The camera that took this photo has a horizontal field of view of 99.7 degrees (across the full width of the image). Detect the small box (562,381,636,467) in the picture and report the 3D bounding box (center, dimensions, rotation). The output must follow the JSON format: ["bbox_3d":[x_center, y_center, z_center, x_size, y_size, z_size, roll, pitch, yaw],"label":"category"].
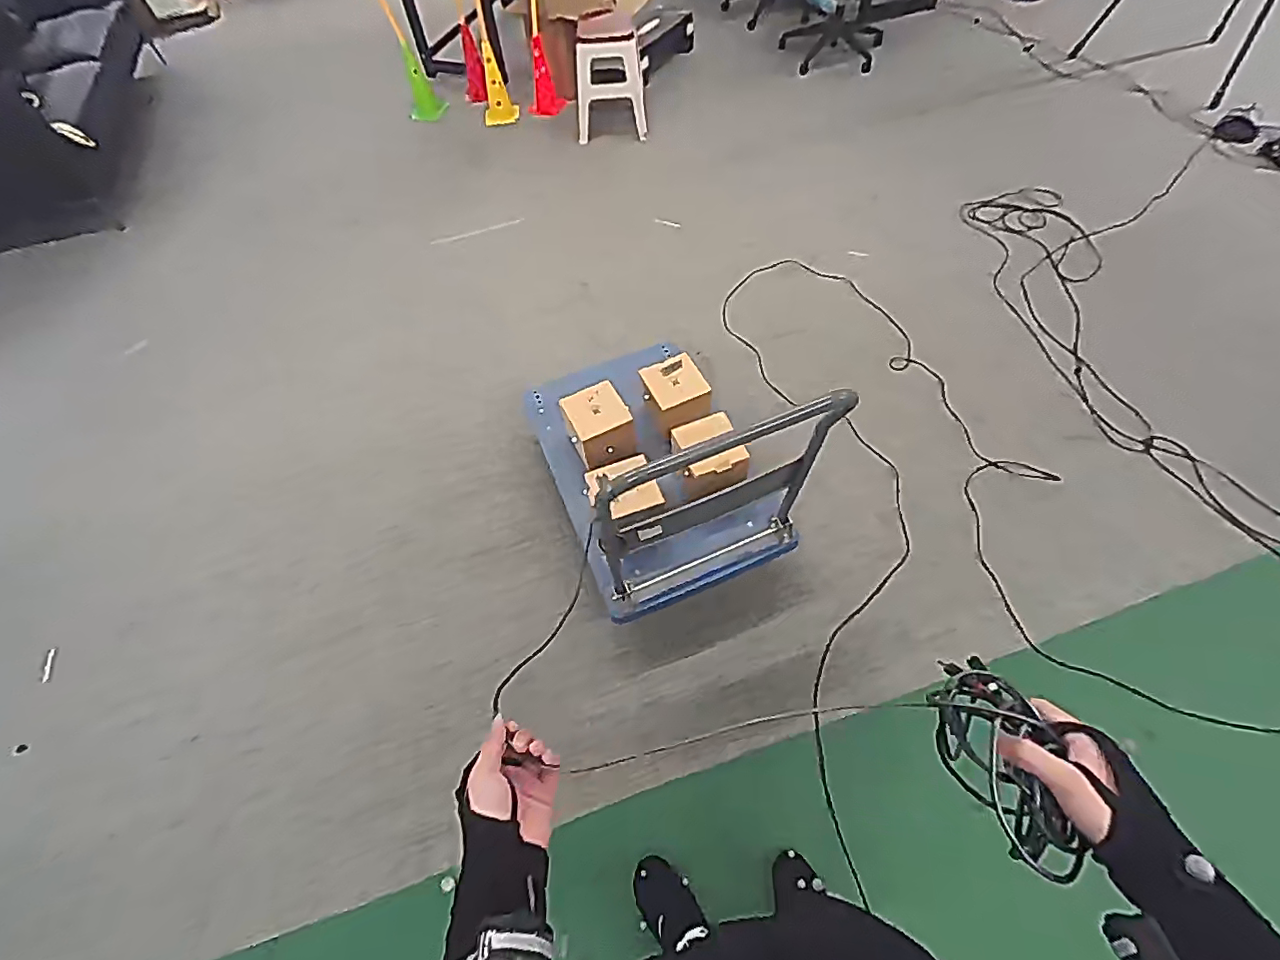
[{"bbox_3d":[-0.119,-0.162,1.644,0.168,0.176,0.179,-24,60,-11],"label":"small box"}]

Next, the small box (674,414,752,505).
[{"bbox_3d":[0.203,-0.056,1.560,0.168,0.176,0.179,-20,60,-8],"label":"small box"}]

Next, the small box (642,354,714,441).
[{"bbox_3d":[0.115,-0.255,1.683,0.168,0.176,0.179,-23,61,-9],"label":"small box"}]
